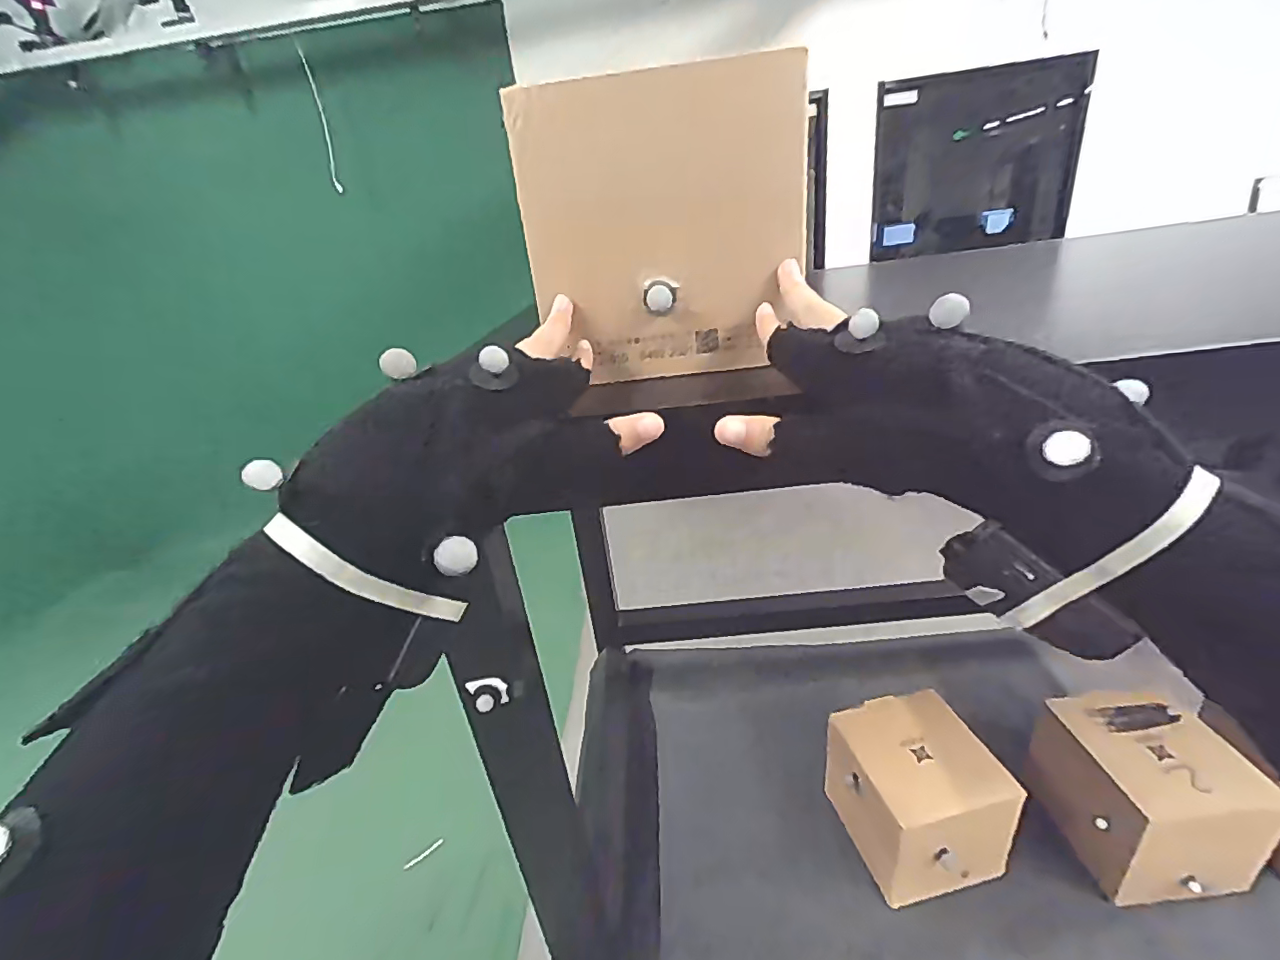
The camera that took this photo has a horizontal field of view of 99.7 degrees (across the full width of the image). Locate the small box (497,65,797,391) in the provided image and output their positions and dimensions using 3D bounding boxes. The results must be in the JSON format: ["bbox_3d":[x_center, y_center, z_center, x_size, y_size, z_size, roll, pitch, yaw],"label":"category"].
[{"bbox_3d":[0.012,-0.171,0.398,0.168,0.176,0.179,-6,25,4],"label":"small box"}]

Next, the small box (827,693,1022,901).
[{"bbox_3d":[0.374,0.434,0.742,0.168,0.176,0.179,-11,24,-7],"label":"small box"}]
